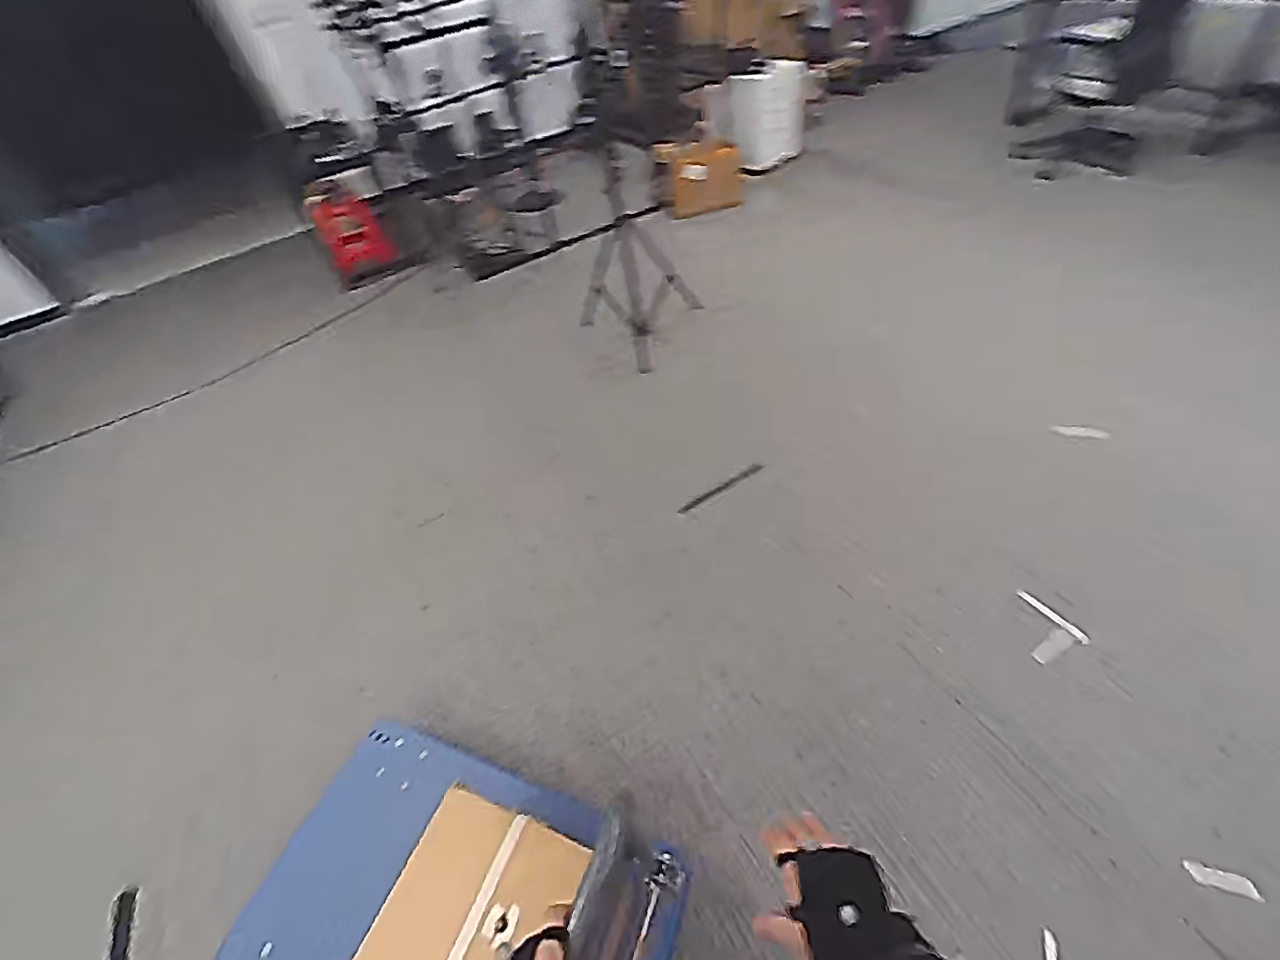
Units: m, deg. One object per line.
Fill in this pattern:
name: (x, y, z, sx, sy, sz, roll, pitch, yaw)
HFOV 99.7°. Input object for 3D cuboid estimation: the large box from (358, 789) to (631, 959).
large box: (-0.248, 0.823, 0.905, 0.320, 0.320, 0.408, 11, 49, 21)
